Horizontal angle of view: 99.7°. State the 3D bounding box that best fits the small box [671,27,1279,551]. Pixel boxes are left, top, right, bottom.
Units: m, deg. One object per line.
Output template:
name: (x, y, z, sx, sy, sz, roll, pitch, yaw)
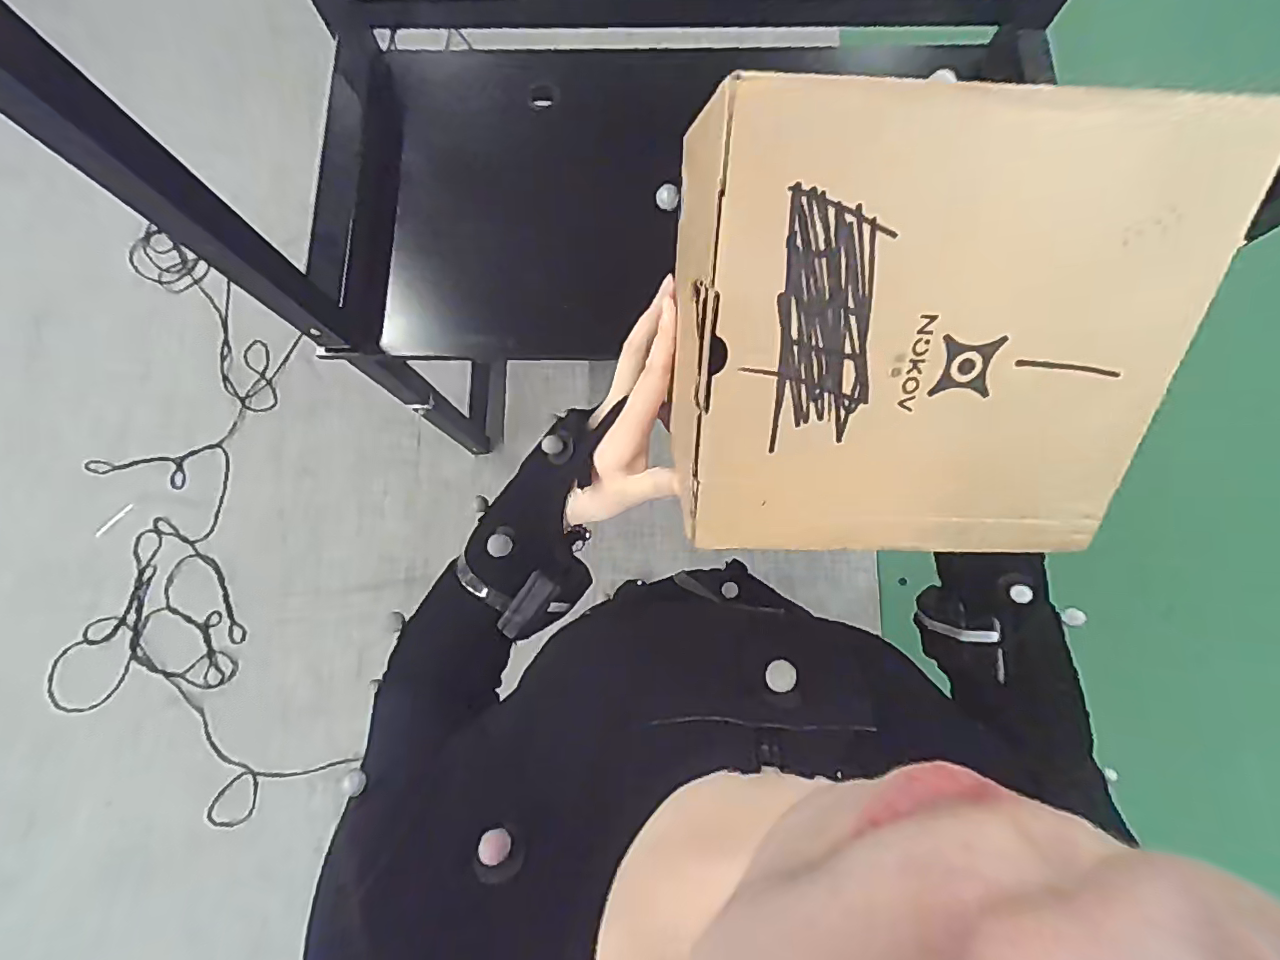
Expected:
small box: (0.107, -0.084, 0.254, 0.179, 0.176, 0.168, 1, 118, -1)
